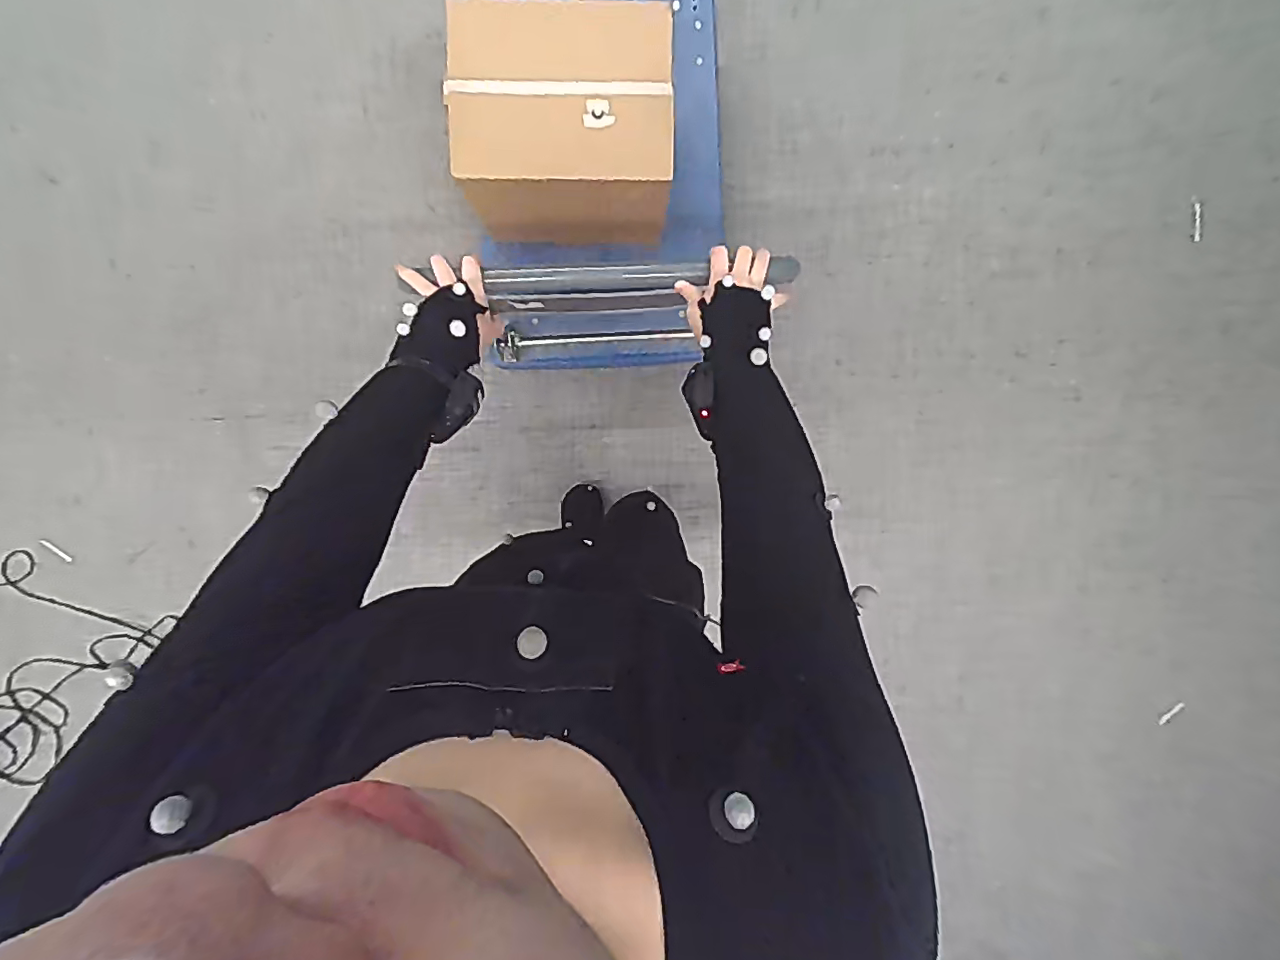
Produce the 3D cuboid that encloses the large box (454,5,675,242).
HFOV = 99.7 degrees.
[{"bbox_3d":[-0.145,-0.718,1.141,0.408,0.320,0.320,-1,93,-3],"label":"large box"}]
